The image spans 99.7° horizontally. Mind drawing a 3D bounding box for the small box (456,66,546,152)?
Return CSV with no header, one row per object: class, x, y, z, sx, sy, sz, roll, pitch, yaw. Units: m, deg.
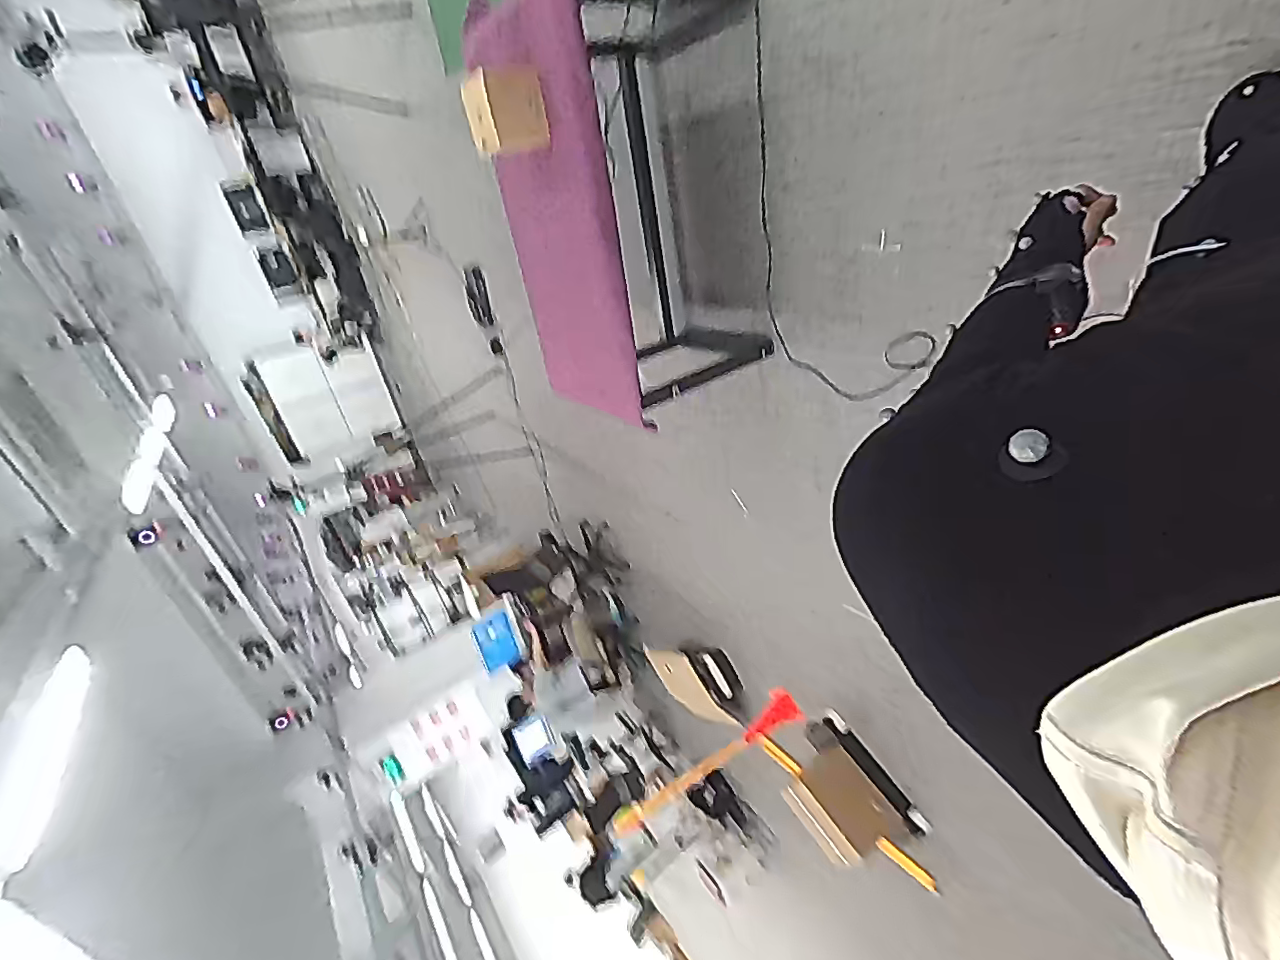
small box,-0.390,-1.049,1.533,0.168,0.176,0.179,27,136,48
